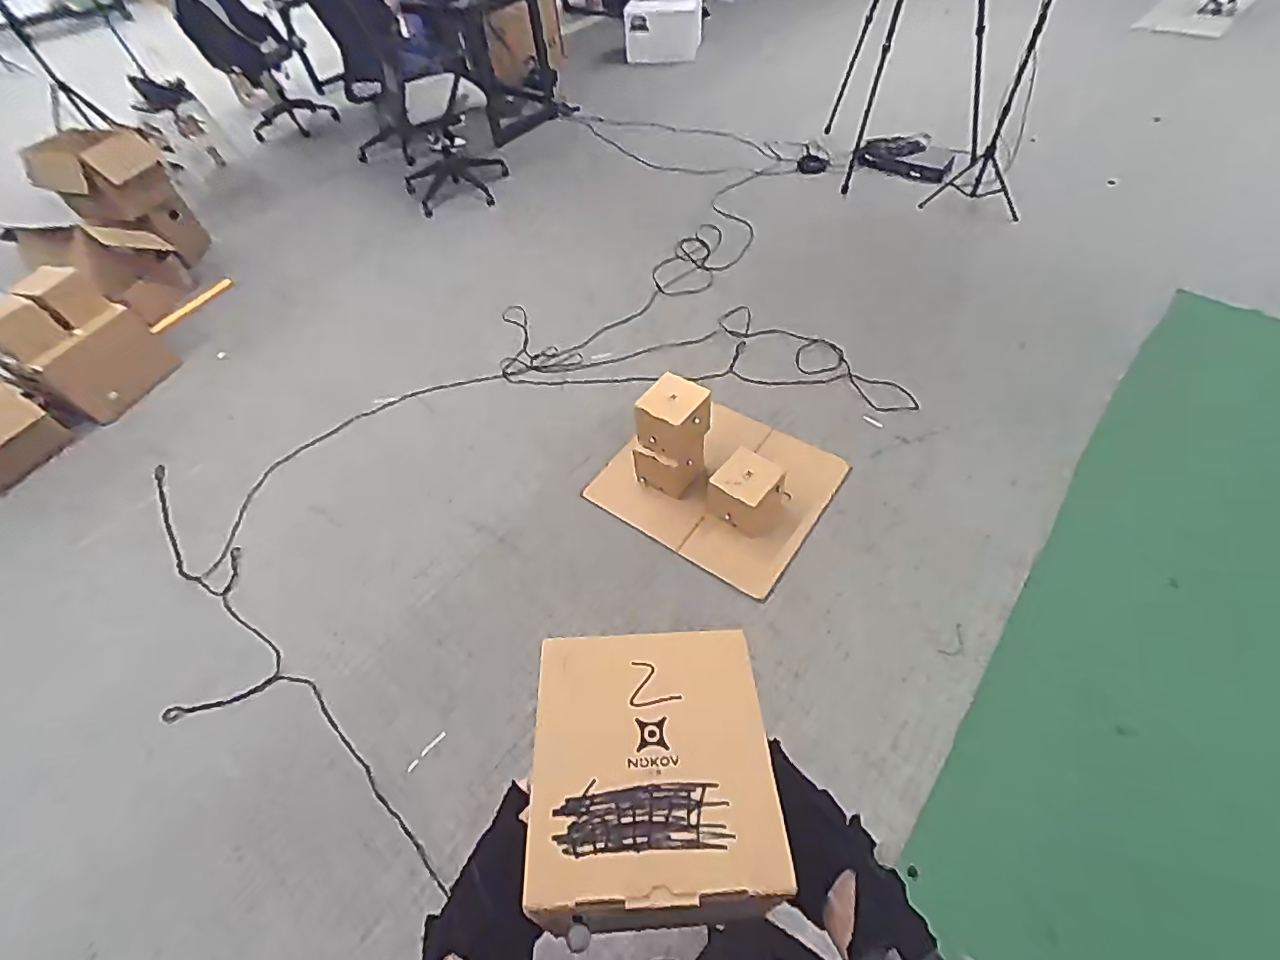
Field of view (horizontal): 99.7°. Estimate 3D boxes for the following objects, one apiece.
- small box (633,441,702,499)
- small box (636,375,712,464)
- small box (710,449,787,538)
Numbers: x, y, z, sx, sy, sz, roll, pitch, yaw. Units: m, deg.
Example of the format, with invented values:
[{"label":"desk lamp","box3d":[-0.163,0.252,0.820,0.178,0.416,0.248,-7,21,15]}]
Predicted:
[{"label":"small box","box3d":[0.098,-0.069,1.785,0.168,0.176,0.179,27,59,24]},{"label":"small box","box3d":[0.105,-0.185,1.668,0.168,0.176,0.179,30,60,25]},{"label":"small box","box3d":[0.329,0.044,1.676,0.168,0.176,0.179,33,63,28]}]
